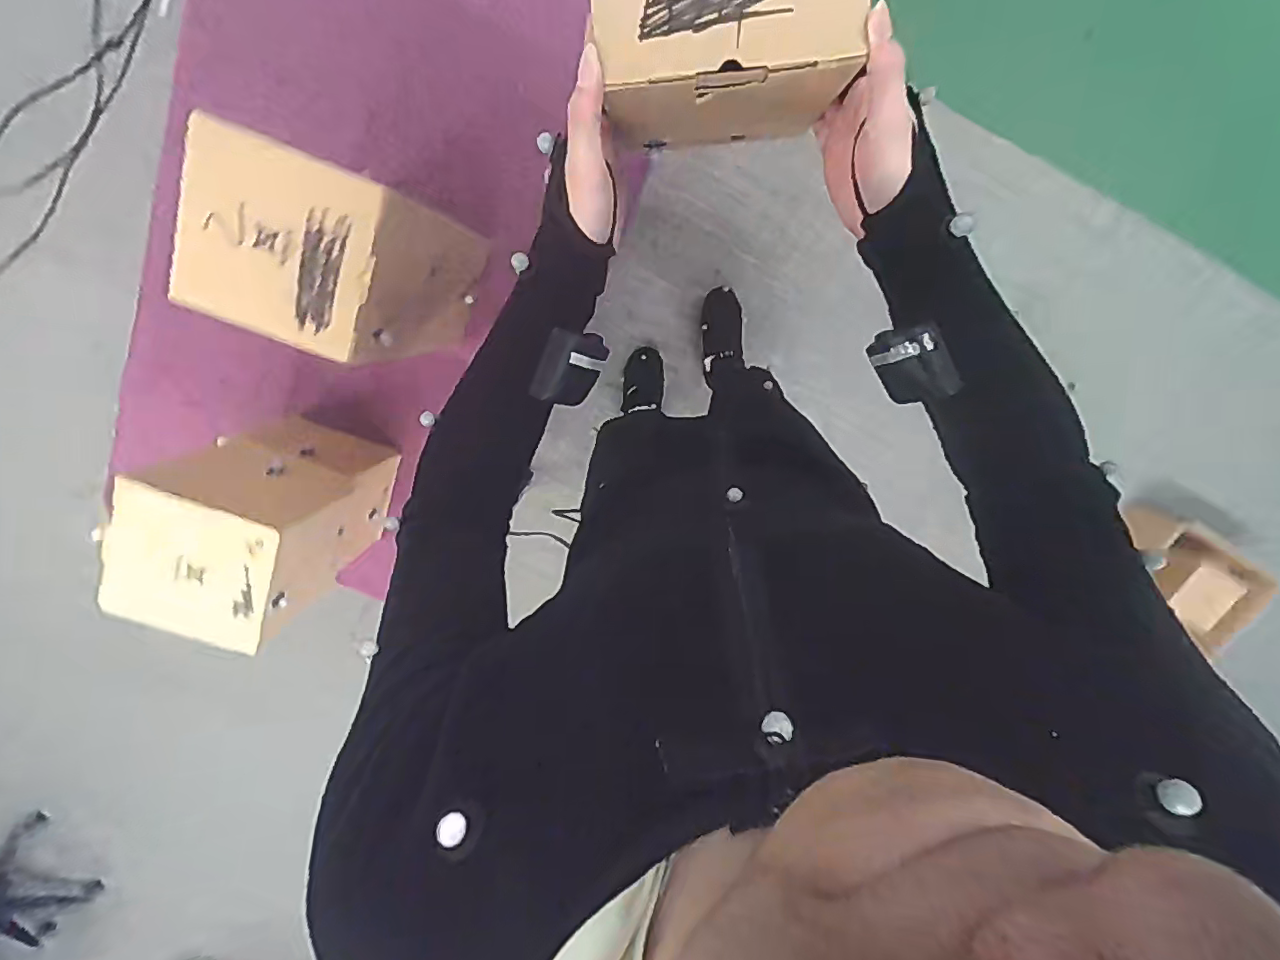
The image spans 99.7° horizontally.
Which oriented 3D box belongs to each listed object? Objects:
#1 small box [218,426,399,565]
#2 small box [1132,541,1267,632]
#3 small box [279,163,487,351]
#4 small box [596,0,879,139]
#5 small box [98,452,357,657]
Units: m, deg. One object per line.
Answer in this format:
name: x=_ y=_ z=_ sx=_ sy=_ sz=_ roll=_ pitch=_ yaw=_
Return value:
small box: x=-0.498 y=0.026 z=0.815 sx=0.179 sy=0.176 sz=0.168 roll=19 pitch=105 yaw=-5
small box: x=1.611 y=0.301 z=1.568 sx=0.179 sy=0.176 sz=0.168 roll=27 pitch=104 yaw=-7
small box: x=-0.329 y=-0.283 z=0.722 sx=0.179 sy=0.176 sz=0.168 roll=21 pitch=106 yaw=-6
small box: x=0.057 y=-0.355 z=0.372 sx=0.168 sy=0.176 sz=0.179 roll=-3 pitch=107 yaw=4
small box: x=-0.487 y=0.077 z=0.659 sx=0.179 sy=0.176 sz=0.168 roll=20 pitch=105 yaw=-5
